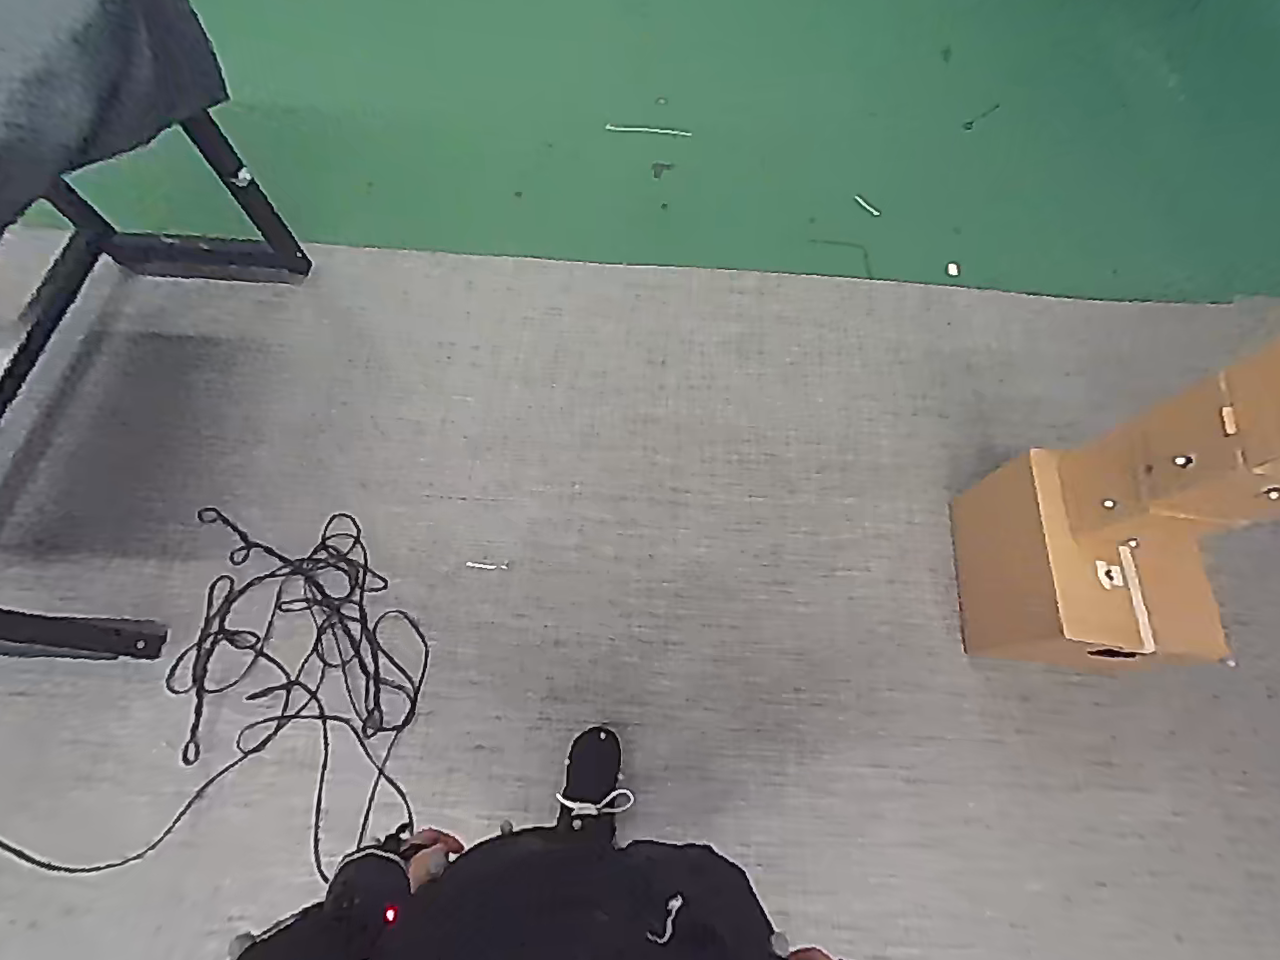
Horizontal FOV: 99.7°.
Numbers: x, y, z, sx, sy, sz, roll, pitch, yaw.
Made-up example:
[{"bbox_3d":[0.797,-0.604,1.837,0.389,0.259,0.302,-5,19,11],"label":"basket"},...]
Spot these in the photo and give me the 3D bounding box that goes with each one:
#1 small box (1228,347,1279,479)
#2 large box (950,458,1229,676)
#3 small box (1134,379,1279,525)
[{"bbox_3d":[0.960,-0.102,0.723,0.168,0.176,0.179,11,68,2],"label":"small box"},{"bbox_3d":[0.949,0.205,1.210,0.320,0.320,0.408,6,67,2],"label":"large box"},{"bbox_3d":[0.952,-0.037,0.873,0.179,0.176,0.168,10,68,1],"label":"small box"}]
